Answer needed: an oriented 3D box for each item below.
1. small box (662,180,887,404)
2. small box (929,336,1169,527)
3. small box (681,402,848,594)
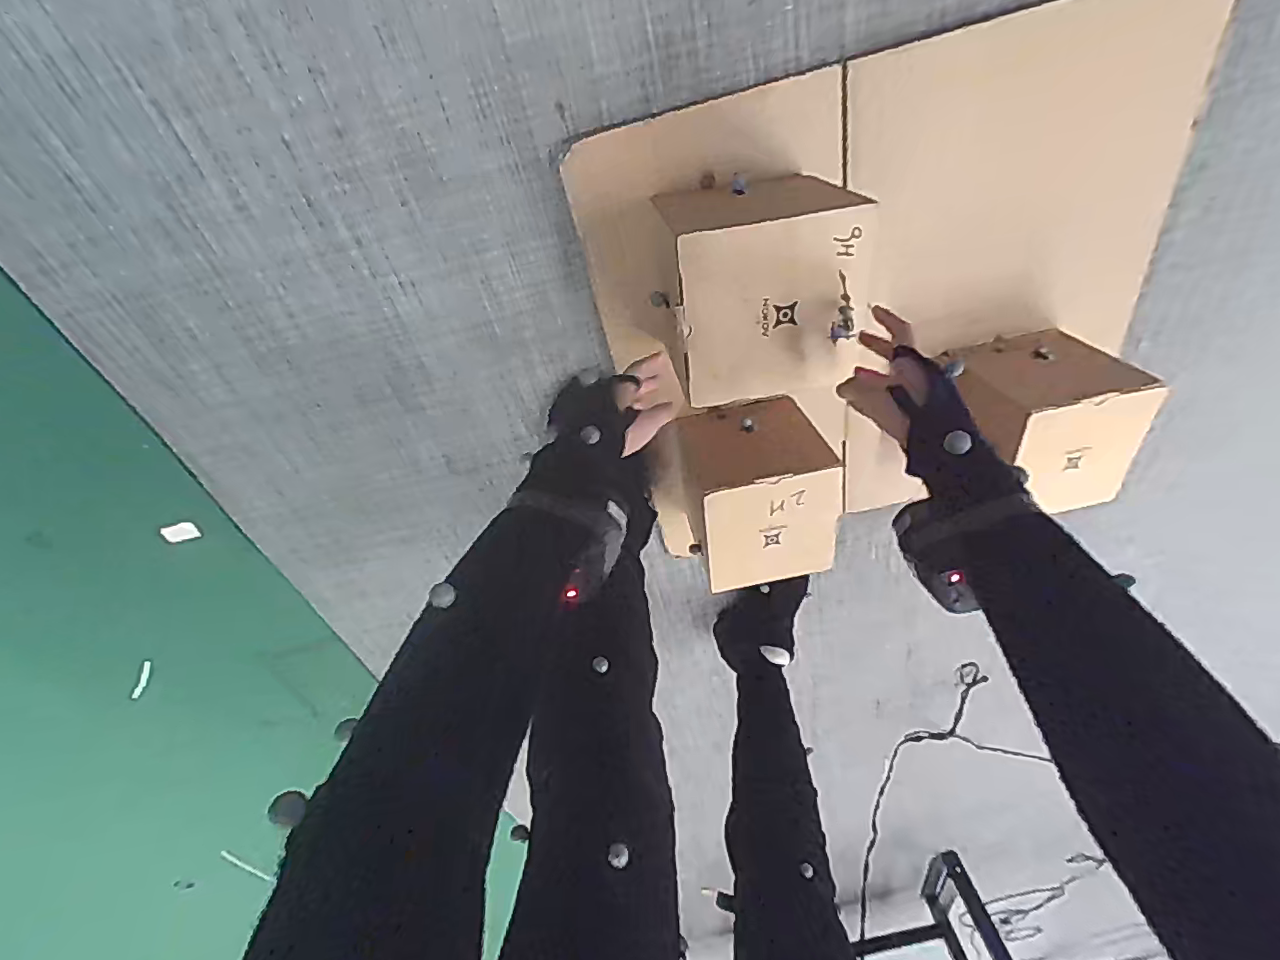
[{"bbox_3d":[0.119,-0.198,0.557,0.179,0.176,0.168,-9,127,-2],"label":"small box"},{"bbox_3d":[0.514,-0.068,0.716,0.168,0.176,0.179,-12,126,-2],"label":"small box"},{"bbox_3d":[0.154,0.021,0.721,0.168,0.176,0.179,-11,127,-2],"label":"small box"}]
